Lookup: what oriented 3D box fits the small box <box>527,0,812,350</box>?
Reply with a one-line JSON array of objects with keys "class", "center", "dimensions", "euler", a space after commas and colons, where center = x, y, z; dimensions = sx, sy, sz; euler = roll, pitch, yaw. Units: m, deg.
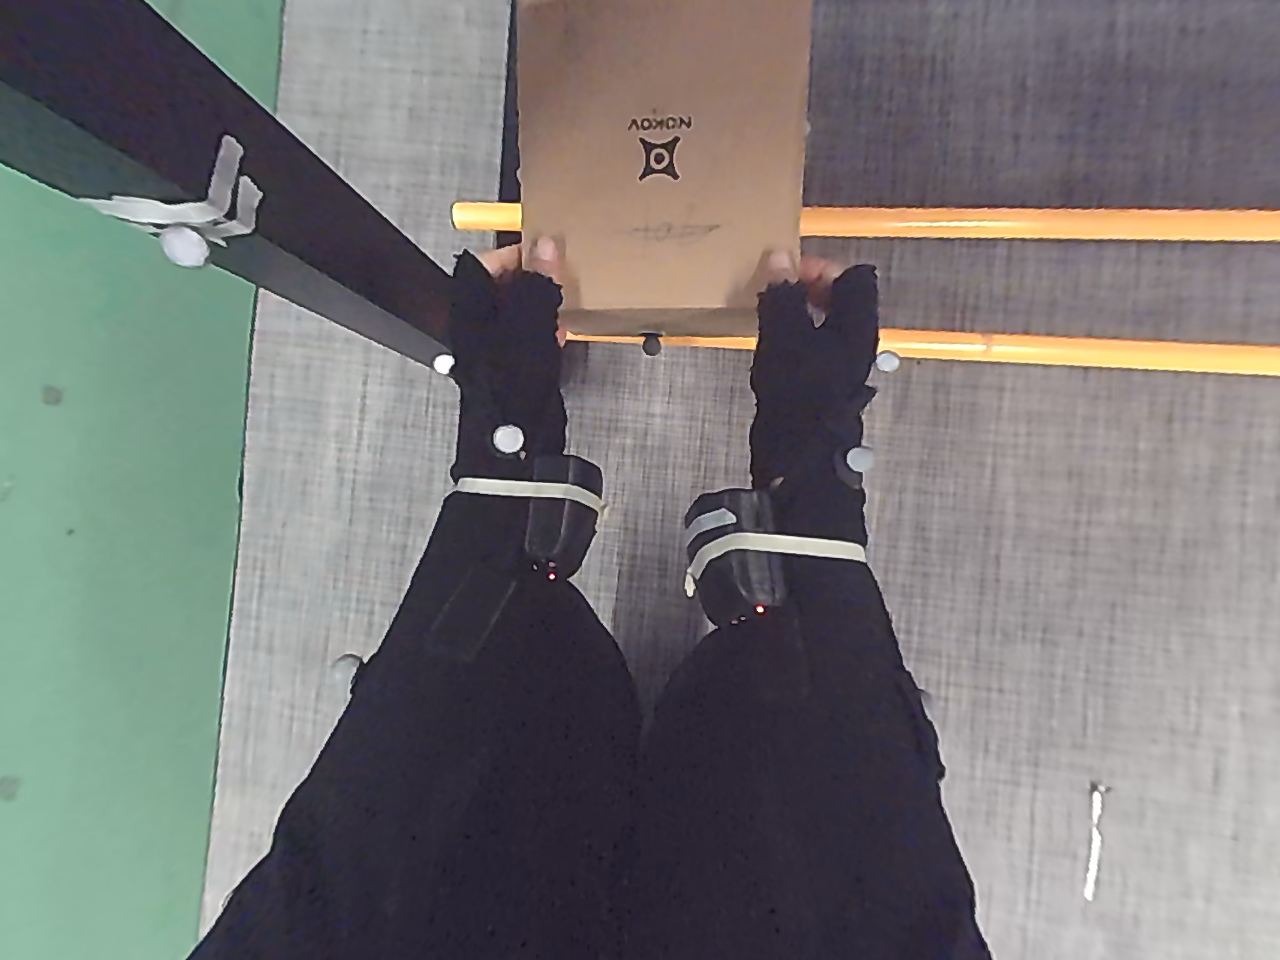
[{"class": "small box", "center": [0.023, -0.193, 0.396], "dimensions": [0.168, 0.176, 0.179], "euler": [1, 99, 7]}]
